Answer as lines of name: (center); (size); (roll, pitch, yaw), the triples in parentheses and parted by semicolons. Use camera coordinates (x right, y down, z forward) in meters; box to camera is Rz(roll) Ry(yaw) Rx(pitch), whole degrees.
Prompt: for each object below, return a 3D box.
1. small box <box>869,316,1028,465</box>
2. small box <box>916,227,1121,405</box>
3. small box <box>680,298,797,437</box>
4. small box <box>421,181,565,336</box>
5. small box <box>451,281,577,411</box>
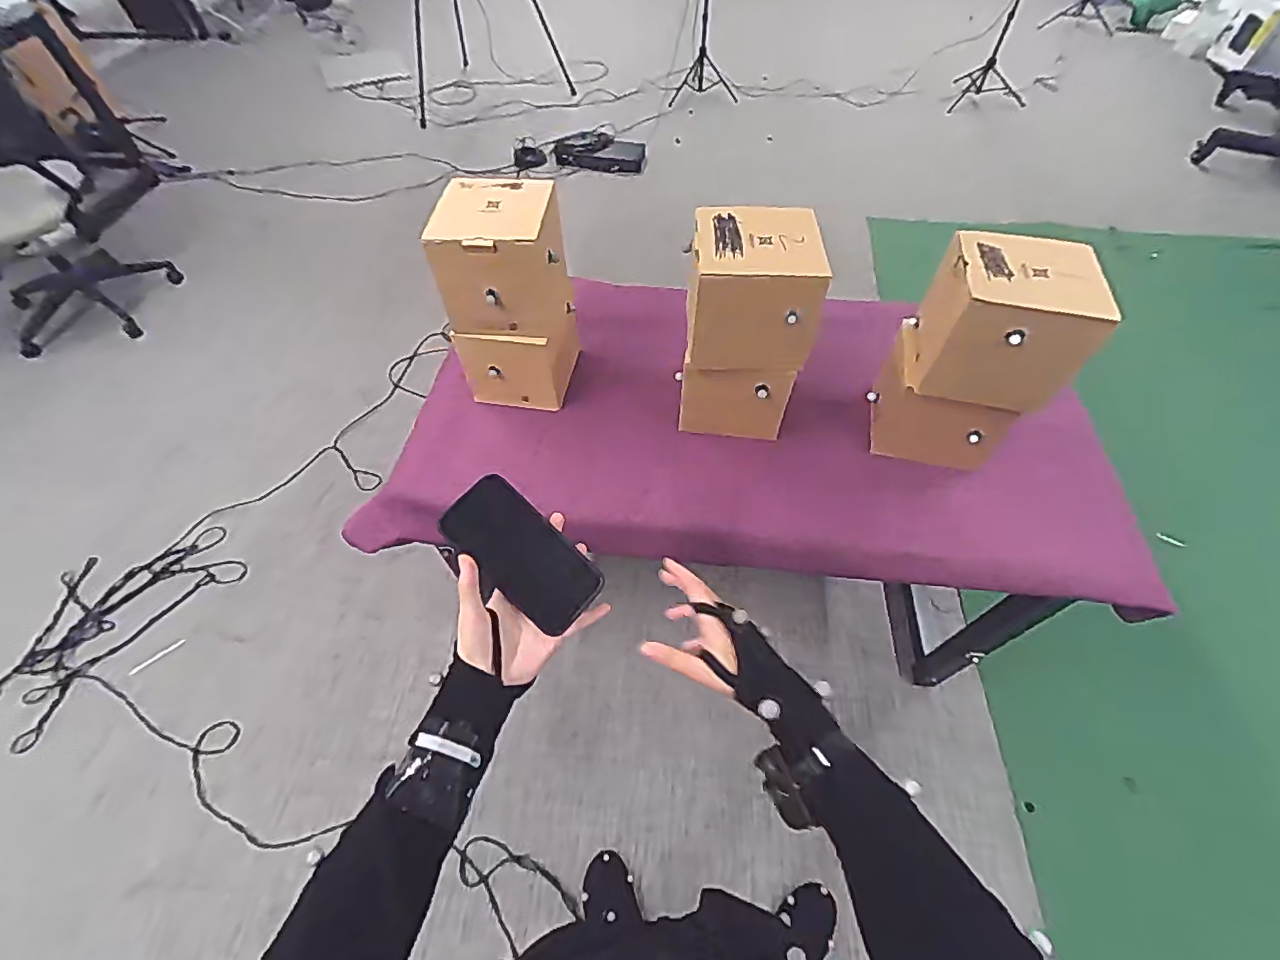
small box: (0.502, -0.145, 0.903); (0.179, 0.176, 0.168); (11, 55, 9)
small box: (0.505, -0.227, 0.760); (0.179, 0.176, 0.168); (11, 55, 8)
small box: (0.167, -0.191, 0.942); (0.179, 0.176, 0.168); (6, 55, 6)
small box: (-0.219, -0.349, 0.863); (0.168, 0.176, 0.179); (2, 55, 2)
small box: (-0.217, -0.247, 0.992); (0.168, 0.176, 0.179); (6, 55, 6)
